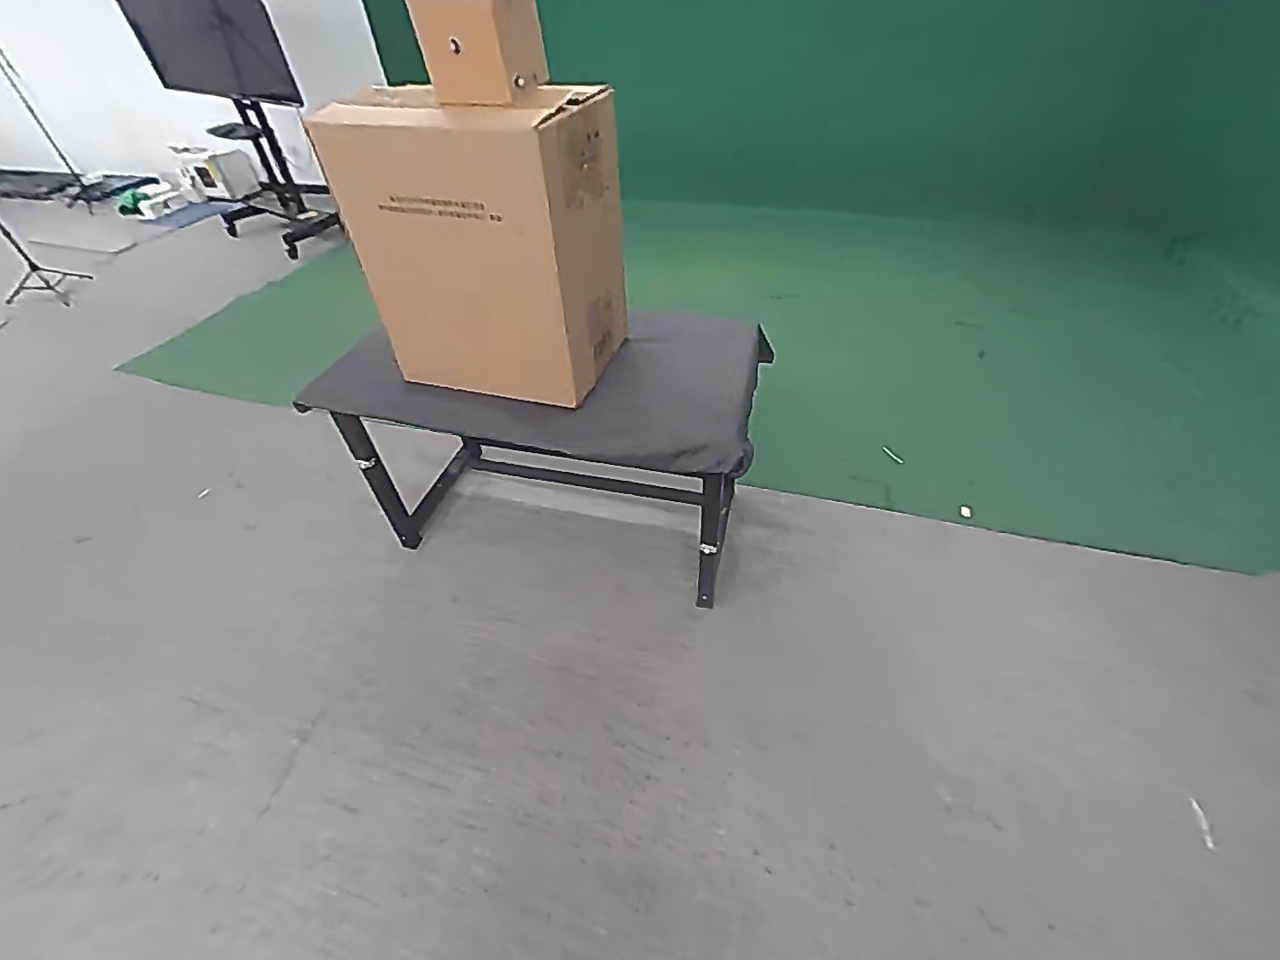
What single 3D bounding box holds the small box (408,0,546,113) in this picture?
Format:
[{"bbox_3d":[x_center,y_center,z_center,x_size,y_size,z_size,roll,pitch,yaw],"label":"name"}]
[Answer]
[{"bbox_3d":[-0.303,-0.838,1.055,0.179,0.176,0.168,11,52,16],"label":"small box"}]
